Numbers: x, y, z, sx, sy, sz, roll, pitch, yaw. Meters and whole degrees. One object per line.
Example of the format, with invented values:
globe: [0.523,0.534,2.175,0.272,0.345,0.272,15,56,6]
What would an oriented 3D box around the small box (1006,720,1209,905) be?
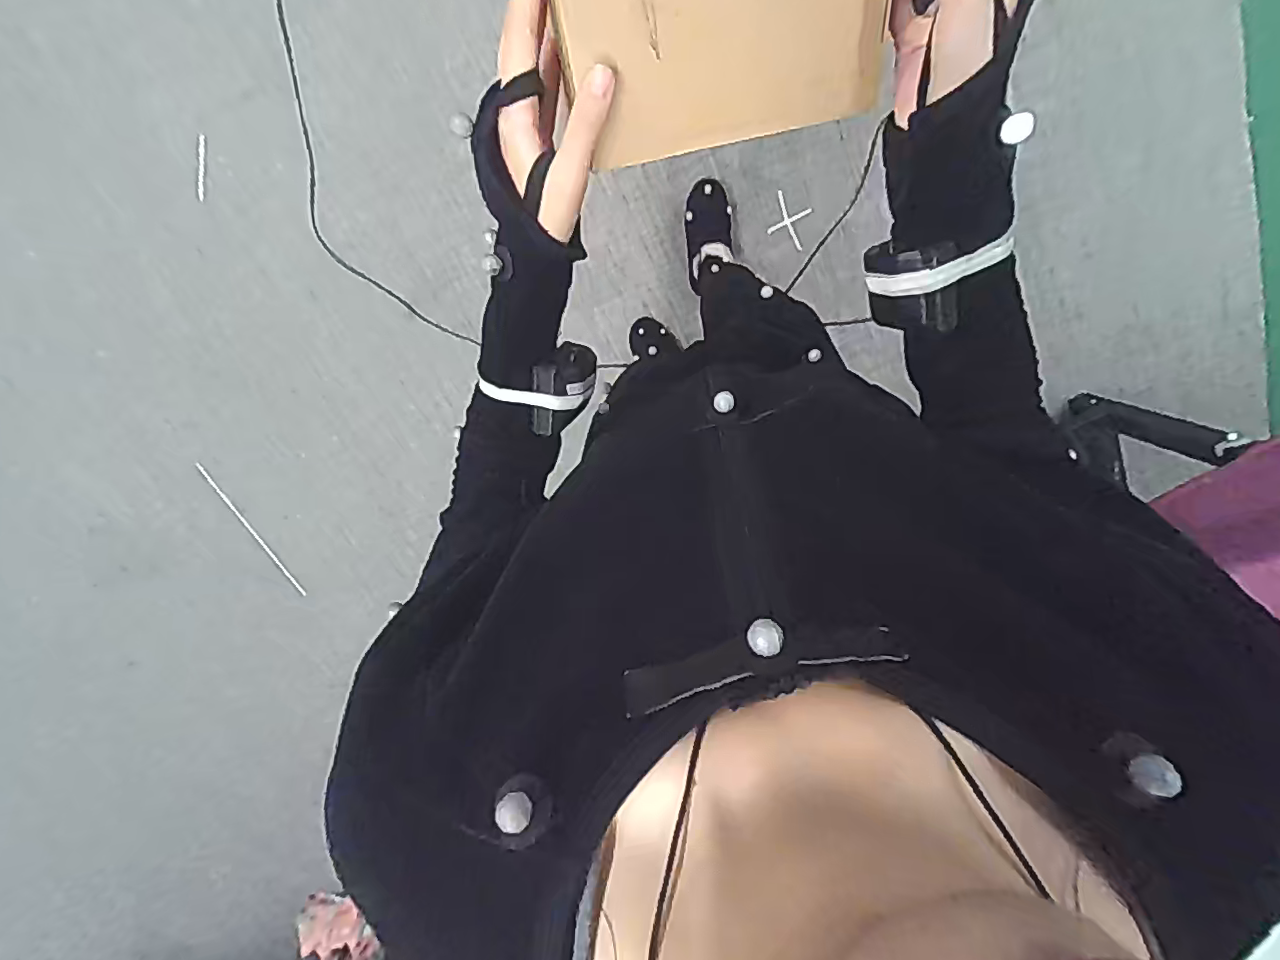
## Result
small box: [0.754,0.538,0.888,0.168,0.176,0.179,-32,107,12]

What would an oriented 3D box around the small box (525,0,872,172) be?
small box: [0.020,-0.309,0.322,0.179,0.176,0.168,-13,133,-3]
